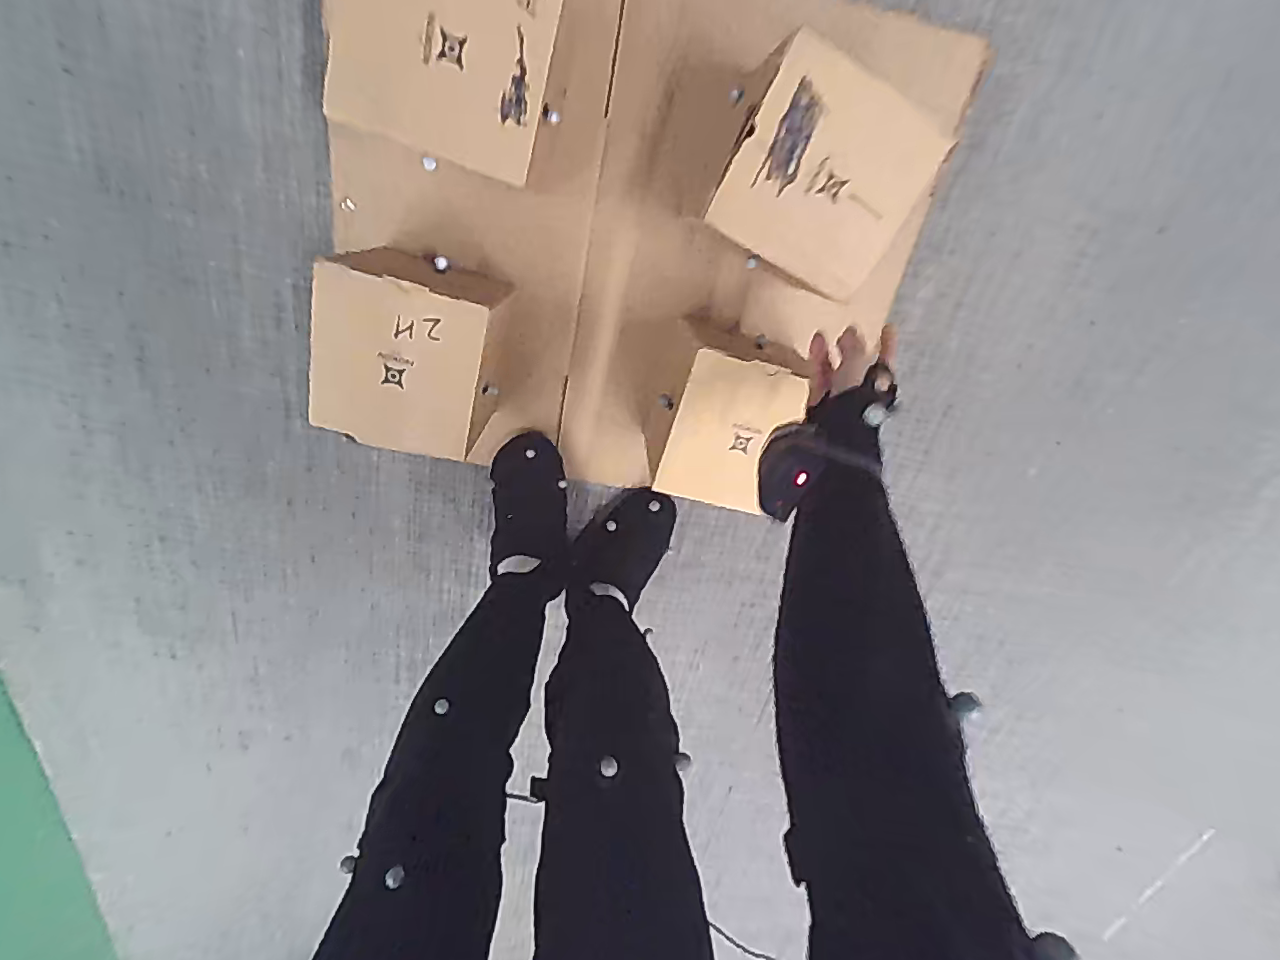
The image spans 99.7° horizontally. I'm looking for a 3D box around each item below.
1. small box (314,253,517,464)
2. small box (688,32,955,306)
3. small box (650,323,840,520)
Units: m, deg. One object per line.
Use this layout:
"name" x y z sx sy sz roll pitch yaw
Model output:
"small box" -0.247 -0.147 0.624 0.168 0.176 0.179 14 114 -10
"small box" 0.168 -0.306 0.567 0.179 0.176 0.168 24 112 -15
"small box" 0.113 -0.079 0.676 0.168 0.176 0.179 13 114 -9
